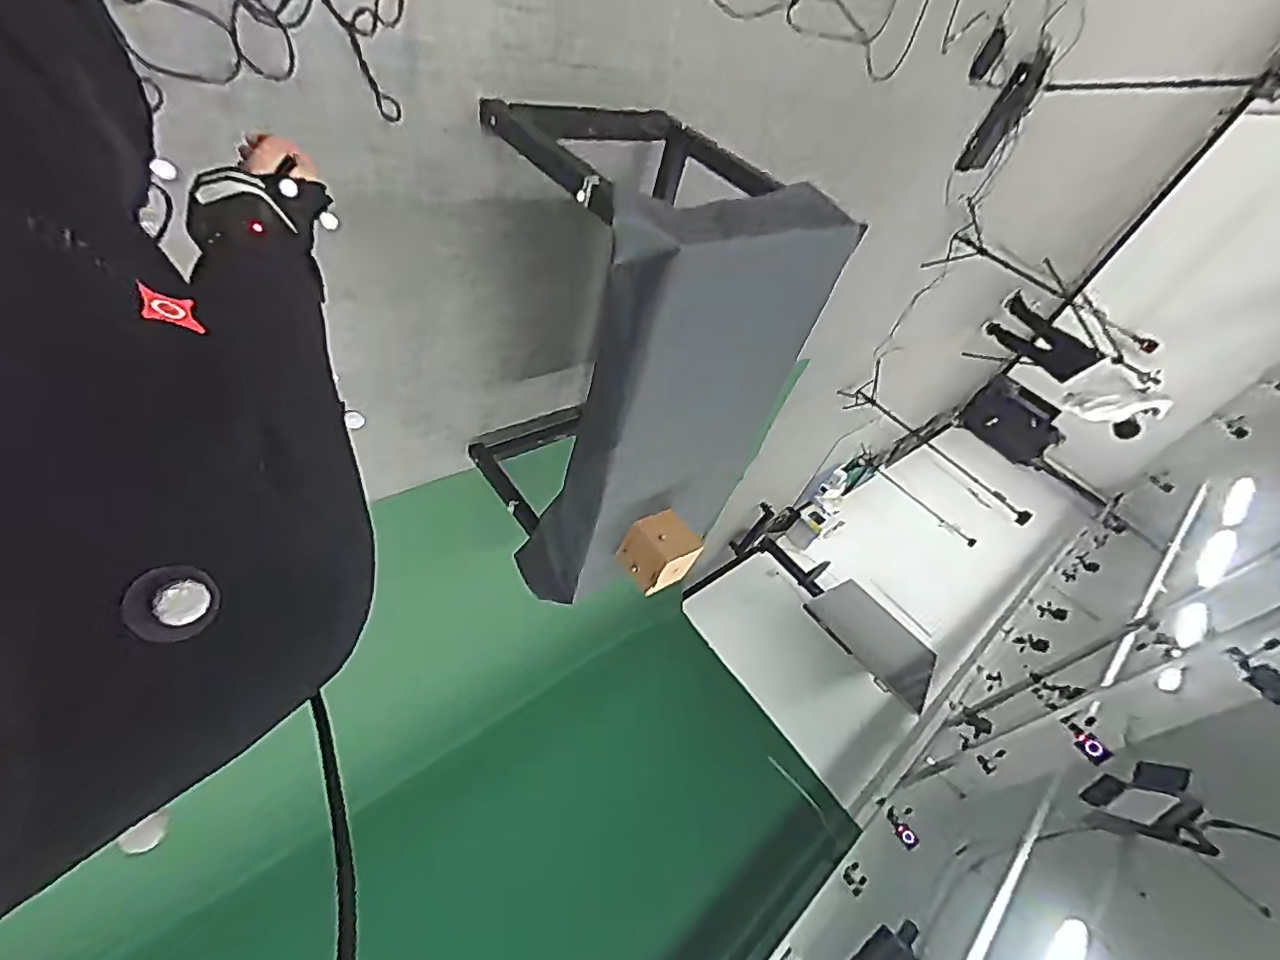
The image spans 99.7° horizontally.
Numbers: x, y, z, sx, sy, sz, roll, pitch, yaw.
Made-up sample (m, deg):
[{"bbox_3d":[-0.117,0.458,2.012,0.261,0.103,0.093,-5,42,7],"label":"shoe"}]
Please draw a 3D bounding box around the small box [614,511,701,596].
[{"bbox_3d":[0.048,0.221,1.662,0.179,0.176,0.168,-17,147,-45],"label":"small box"}]
